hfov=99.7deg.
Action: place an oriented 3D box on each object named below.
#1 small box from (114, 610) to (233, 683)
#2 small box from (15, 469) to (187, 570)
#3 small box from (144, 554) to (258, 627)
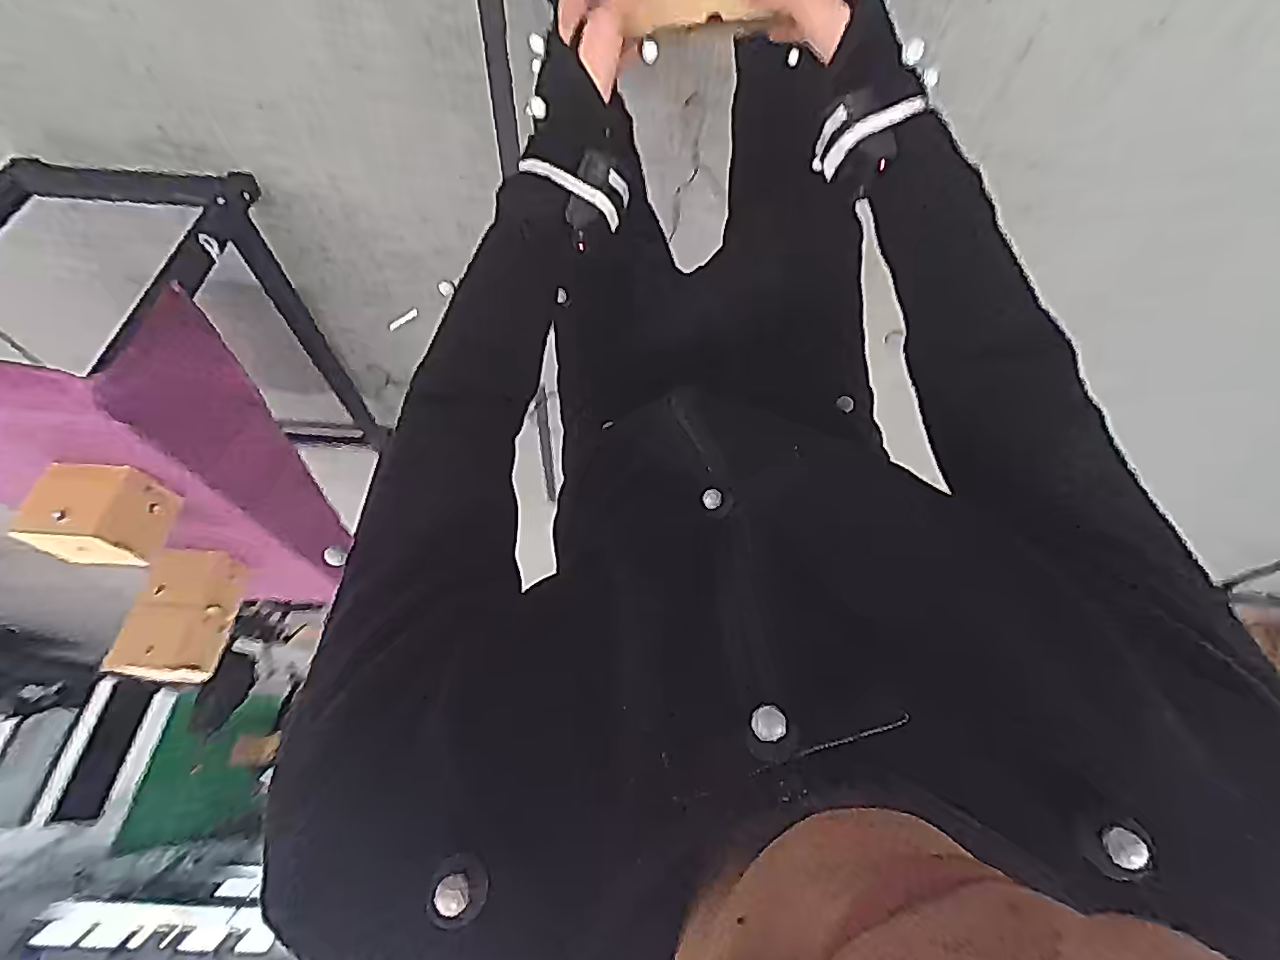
[{"bbox_3d":[-1.304,0.472,1.534,0.179,0.176,0.168,2,150,2],"label":"small box"},{"bbox_3d":[-1.164,0.087,1.187,0.179,0.176,0.168,2,150,0],"label":"small box"},{"bbox_3d":[-1.298,0.329,1.615,0.179,0.176,0.168,3,151,-2],"label":"small box"}]
